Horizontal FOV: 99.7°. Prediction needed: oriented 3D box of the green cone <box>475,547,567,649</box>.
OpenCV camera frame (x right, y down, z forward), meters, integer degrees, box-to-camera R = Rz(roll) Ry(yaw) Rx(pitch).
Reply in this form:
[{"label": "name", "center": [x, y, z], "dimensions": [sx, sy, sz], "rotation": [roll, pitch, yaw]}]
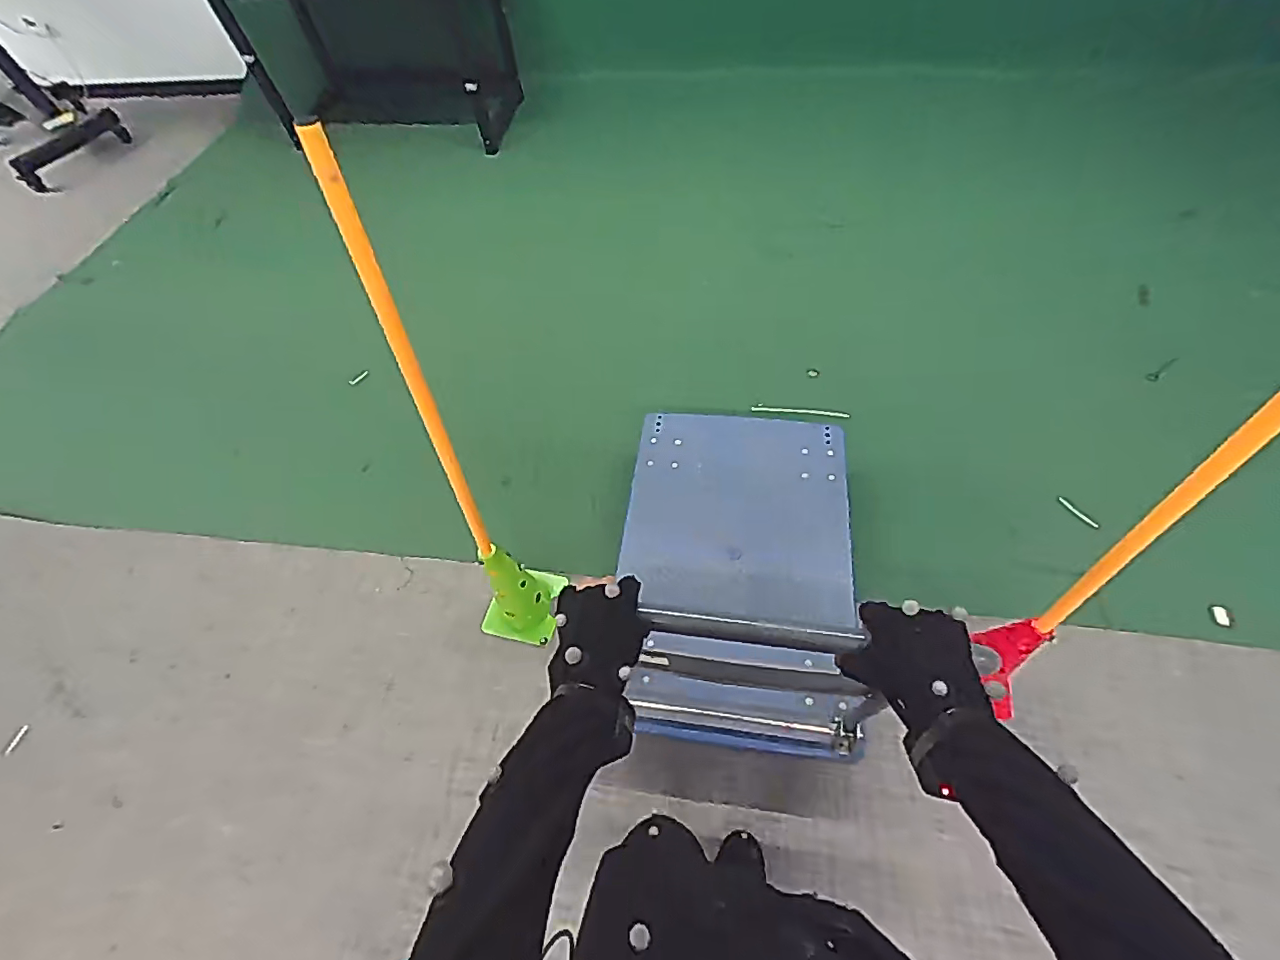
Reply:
[{"label": "green cone", "center": [-0.334, 0.265, 1.370], "dimensions": [0.202, 0.368, 0.200], "rotation": [8, 58, 11]}]
